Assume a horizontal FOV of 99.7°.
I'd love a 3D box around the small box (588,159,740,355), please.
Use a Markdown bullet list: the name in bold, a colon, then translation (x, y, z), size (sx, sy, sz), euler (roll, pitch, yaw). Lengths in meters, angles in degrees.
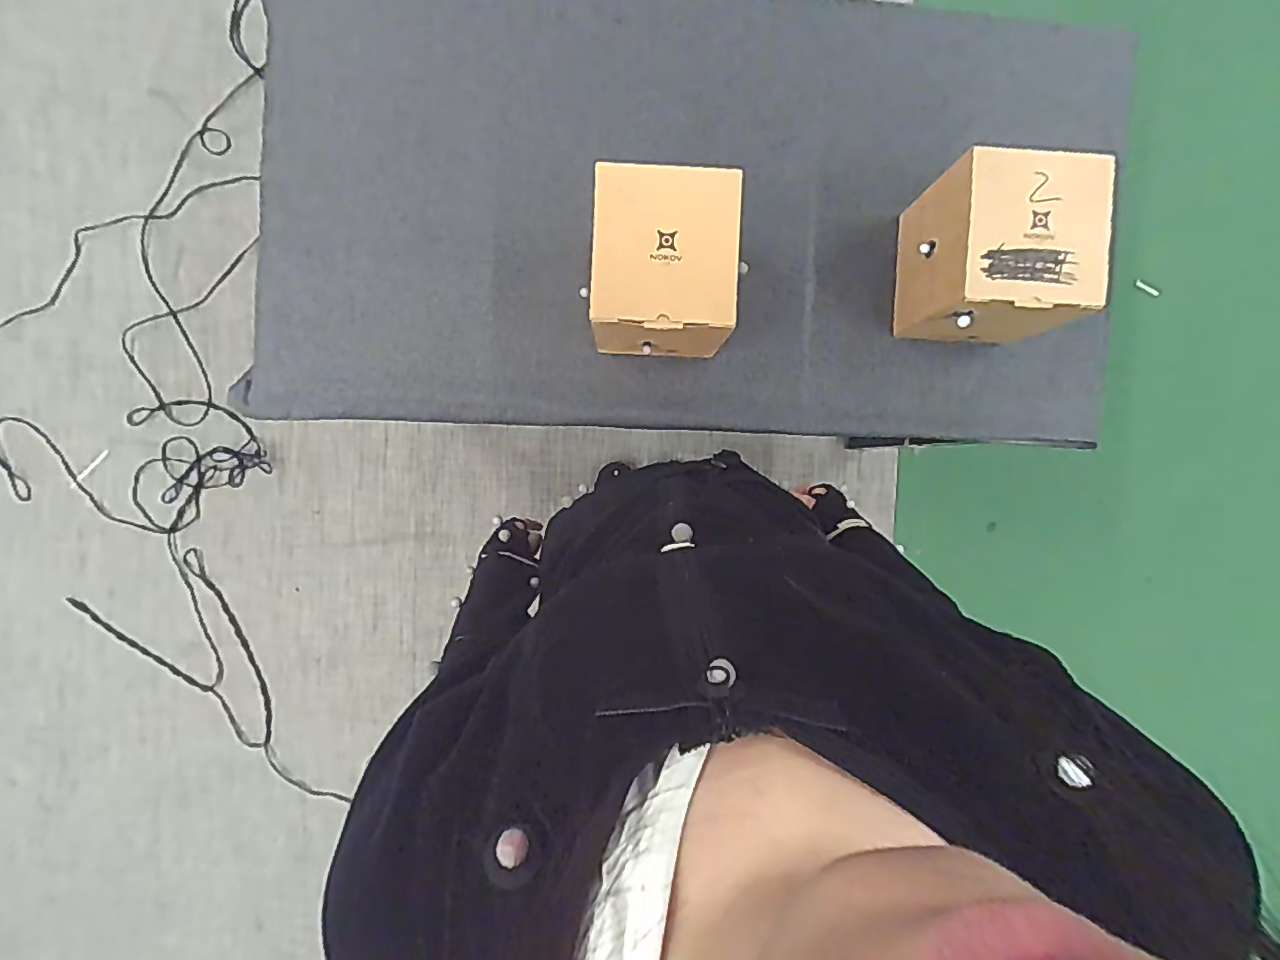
- **small box**: translation (0.022, -0.264, 0.677), size (0.168, 0.176, 0.179), euler (2, 92, -3)
